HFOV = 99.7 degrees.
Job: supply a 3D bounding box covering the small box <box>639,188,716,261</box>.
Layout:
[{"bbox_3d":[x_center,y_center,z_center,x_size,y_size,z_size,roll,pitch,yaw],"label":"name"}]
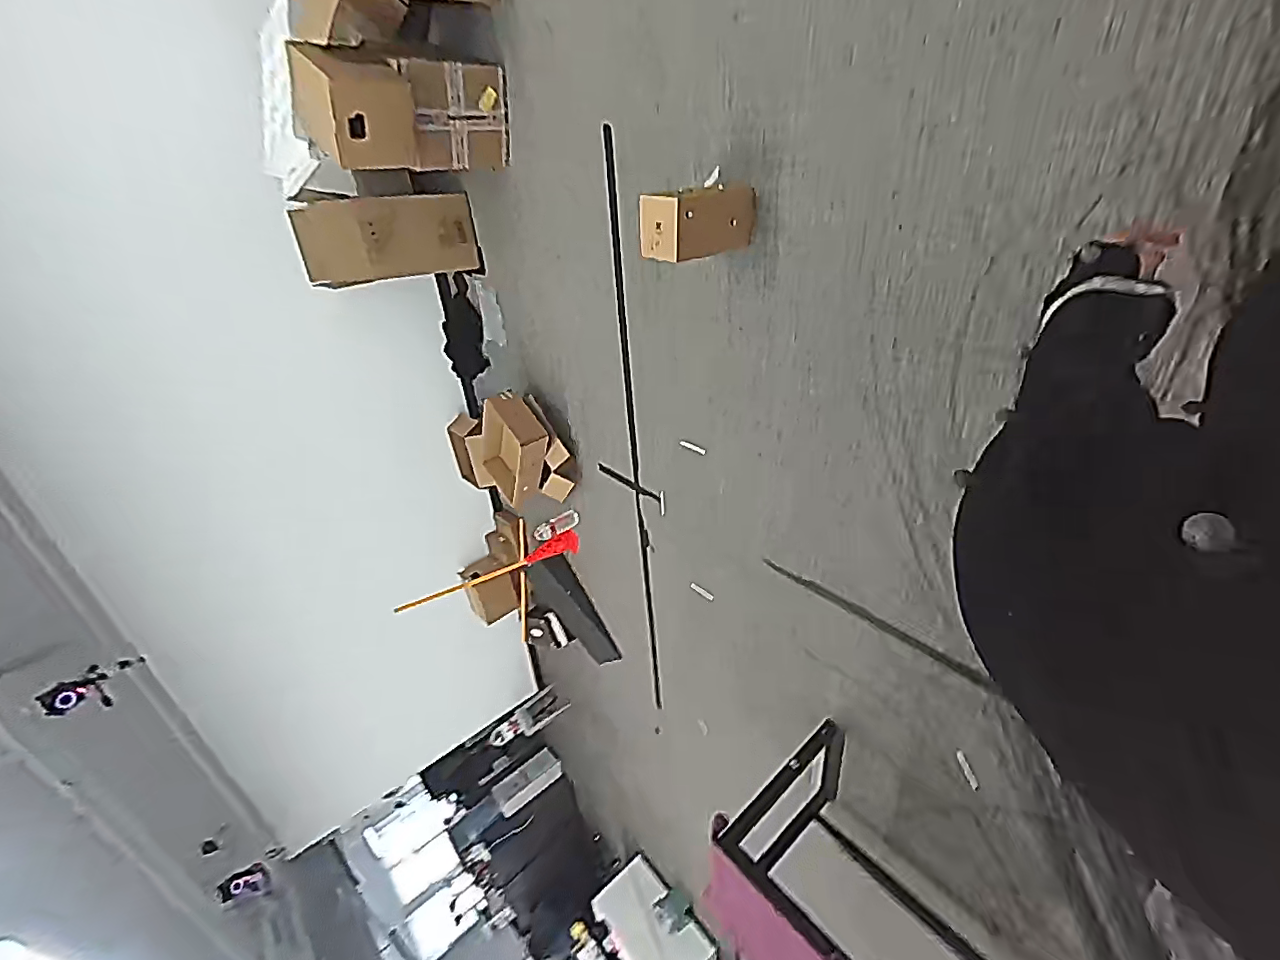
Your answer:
[{"bbox_3d":[0.114,-0.777,1.634,0.168,0.176,0.179,32,137,41],"label":"small box"}]
